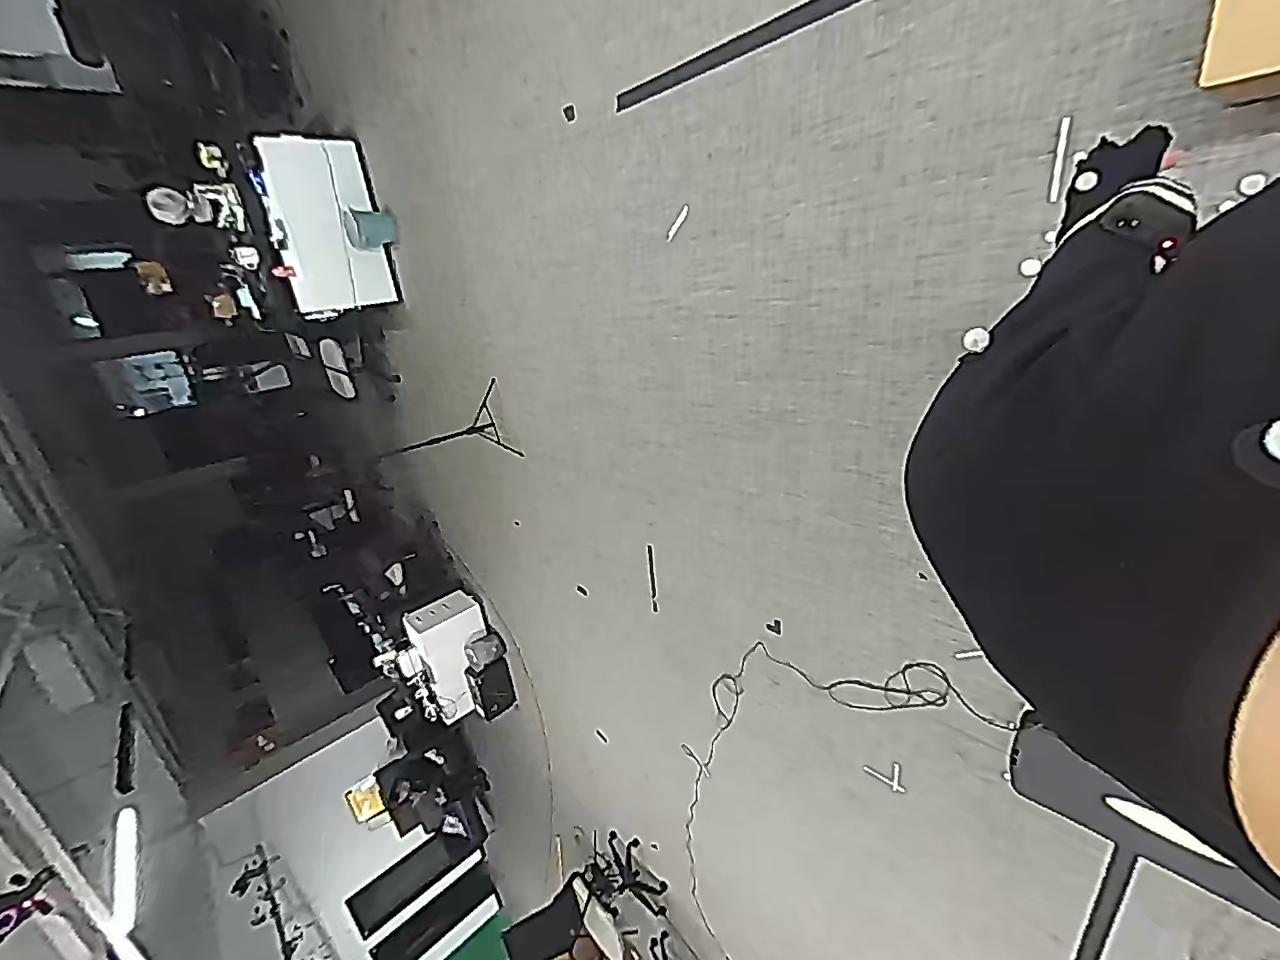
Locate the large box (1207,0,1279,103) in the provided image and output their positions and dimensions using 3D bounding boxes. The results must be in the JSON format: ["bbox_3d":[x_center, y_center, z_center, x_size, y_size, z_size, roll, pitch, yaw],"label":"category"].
[{"bbox_3d":[1.004,-0.708,0.649,0.408,0.320,0.320,14,121,45],"label":"large box"}]
